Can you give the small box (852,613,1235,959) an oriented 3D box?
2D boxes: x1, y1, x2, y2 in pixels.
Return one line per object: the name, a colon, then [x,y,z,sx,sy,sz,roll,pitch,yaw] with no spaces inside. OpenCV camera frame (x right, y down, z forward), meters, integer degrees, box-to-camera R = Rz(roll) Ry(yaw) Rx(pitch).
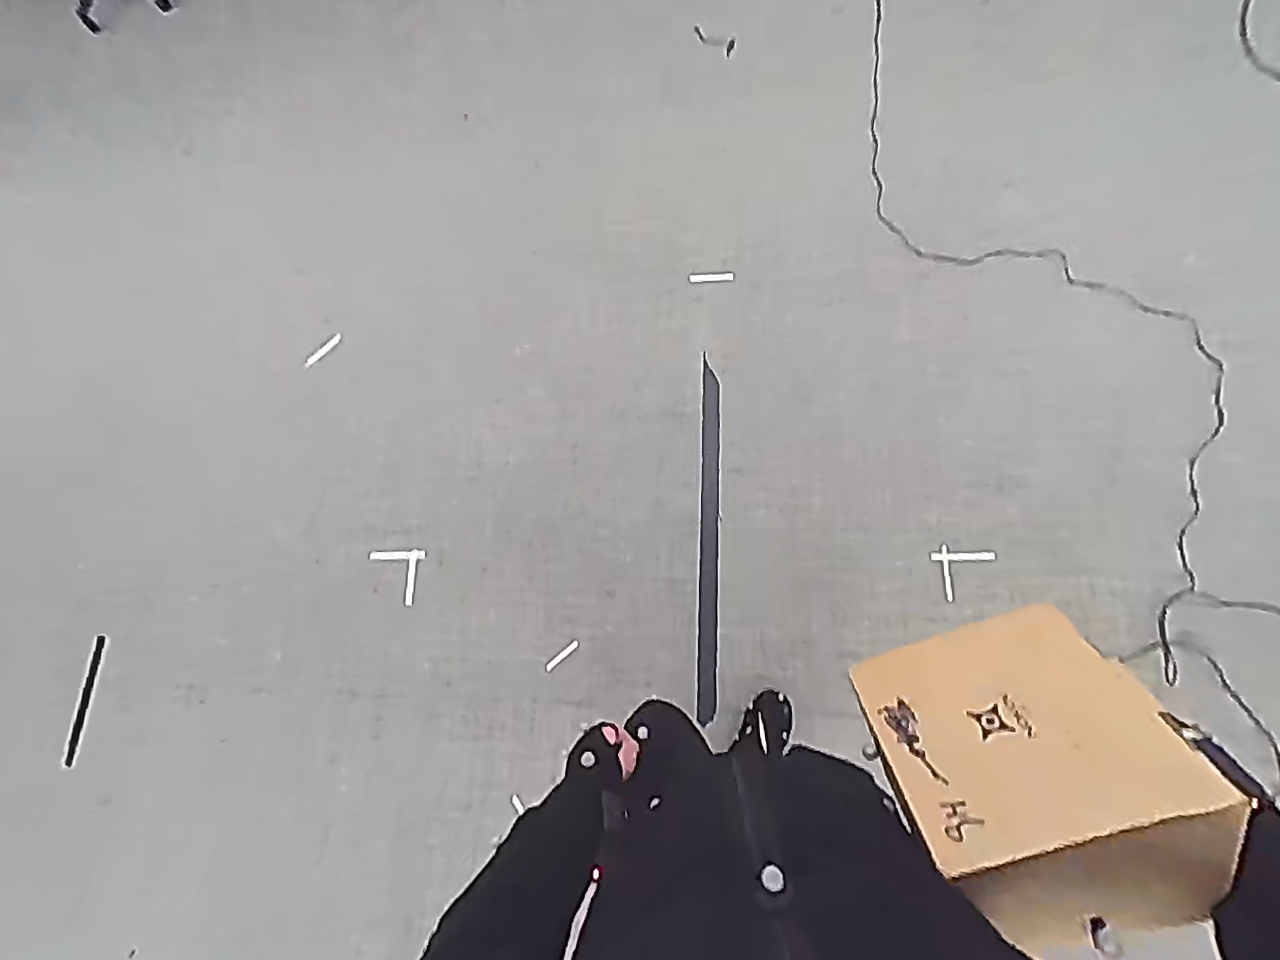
small box: [0.302,0.246,0.440,0.179,0.176,0.168,-22,28,10]
